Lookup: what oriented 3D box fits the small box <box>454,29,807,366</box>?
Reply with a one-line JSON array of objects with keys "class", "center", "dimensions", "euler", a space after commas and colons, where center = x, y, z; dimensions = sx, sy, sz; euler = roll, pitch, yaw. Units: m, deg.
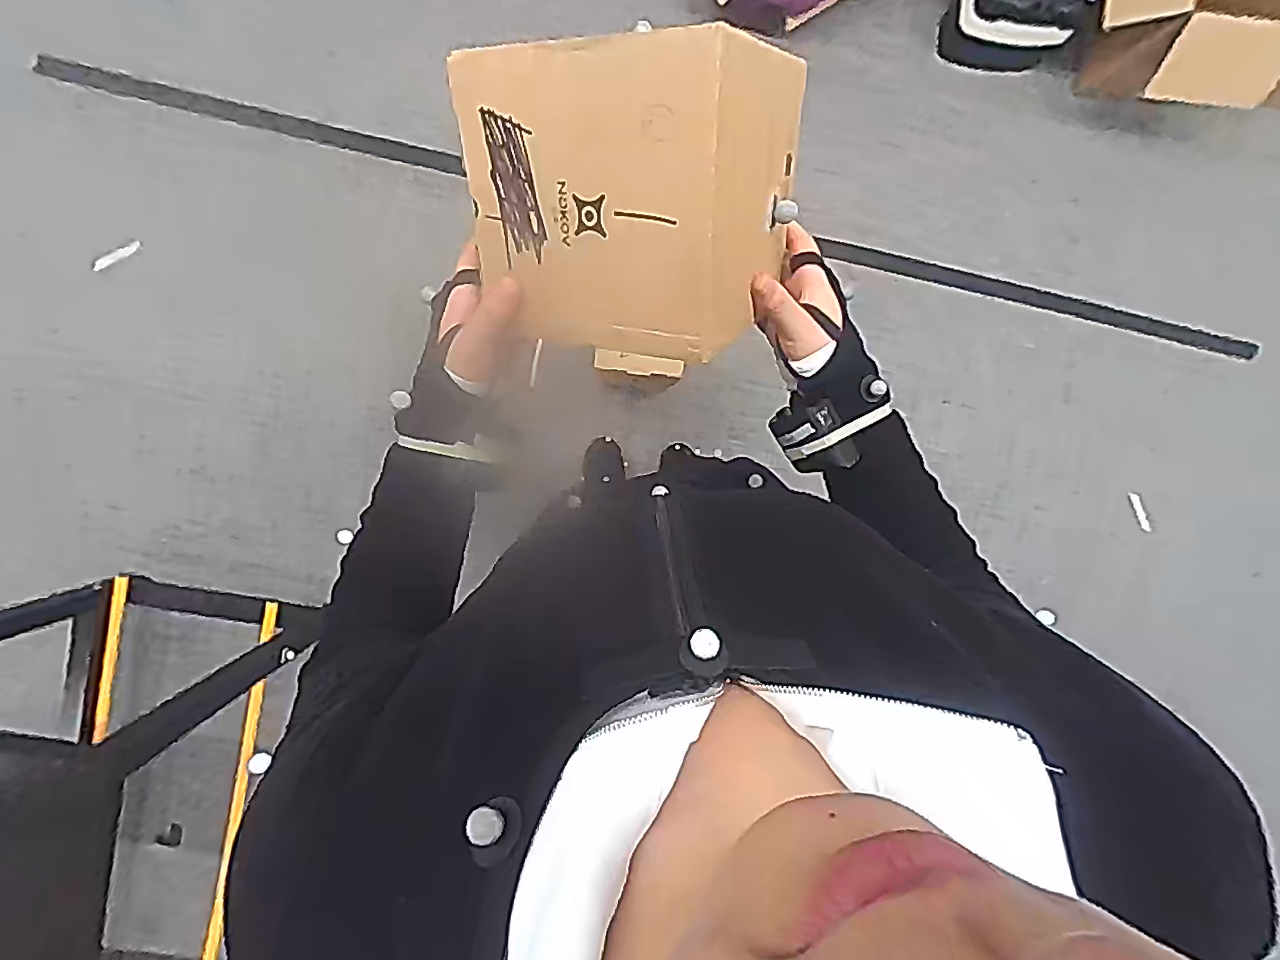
[{"class": "small box", "center": [0.003, -0.195, 0.385], "dimensions": [0.179, 0.176, 0.168], "euler": [14, 124, 23]}]

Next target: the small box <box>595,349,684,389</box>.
[{"class": "small box", "center": [0.003, -0.282, 1.063], "dimensions": [0.168, 0.176, 0.179], "euler": [6, 94, -2]}]

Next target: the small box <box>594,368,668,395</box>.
[{"class": "small box", "center": [-0.004, -0.295, 1.228], "dimensions": [0.168, 0.176, 0.179], "euler": [11, 94, -3]}]
